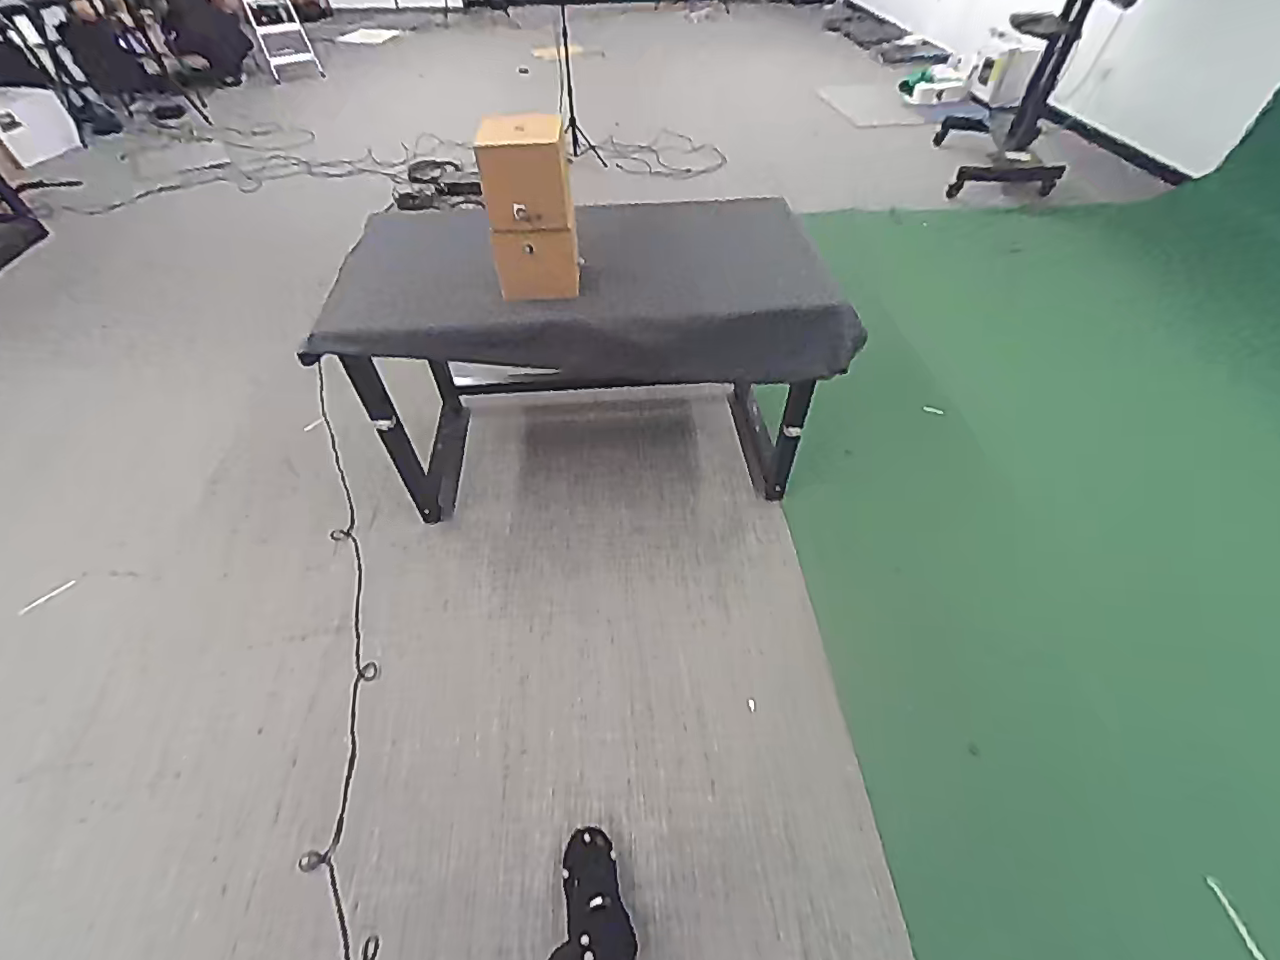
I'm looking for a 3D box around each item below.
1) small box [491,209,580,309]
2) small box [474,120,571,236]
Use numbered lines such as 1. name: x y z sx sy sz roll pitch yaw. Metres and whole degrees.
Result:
1. small box: -0.239 -0.519 1.276 0.179 0.176 0.168 -2 49 -2
2. small box: -0.239 -0.637 1.142 0.168 0.176 0.179 -4 50 -1
